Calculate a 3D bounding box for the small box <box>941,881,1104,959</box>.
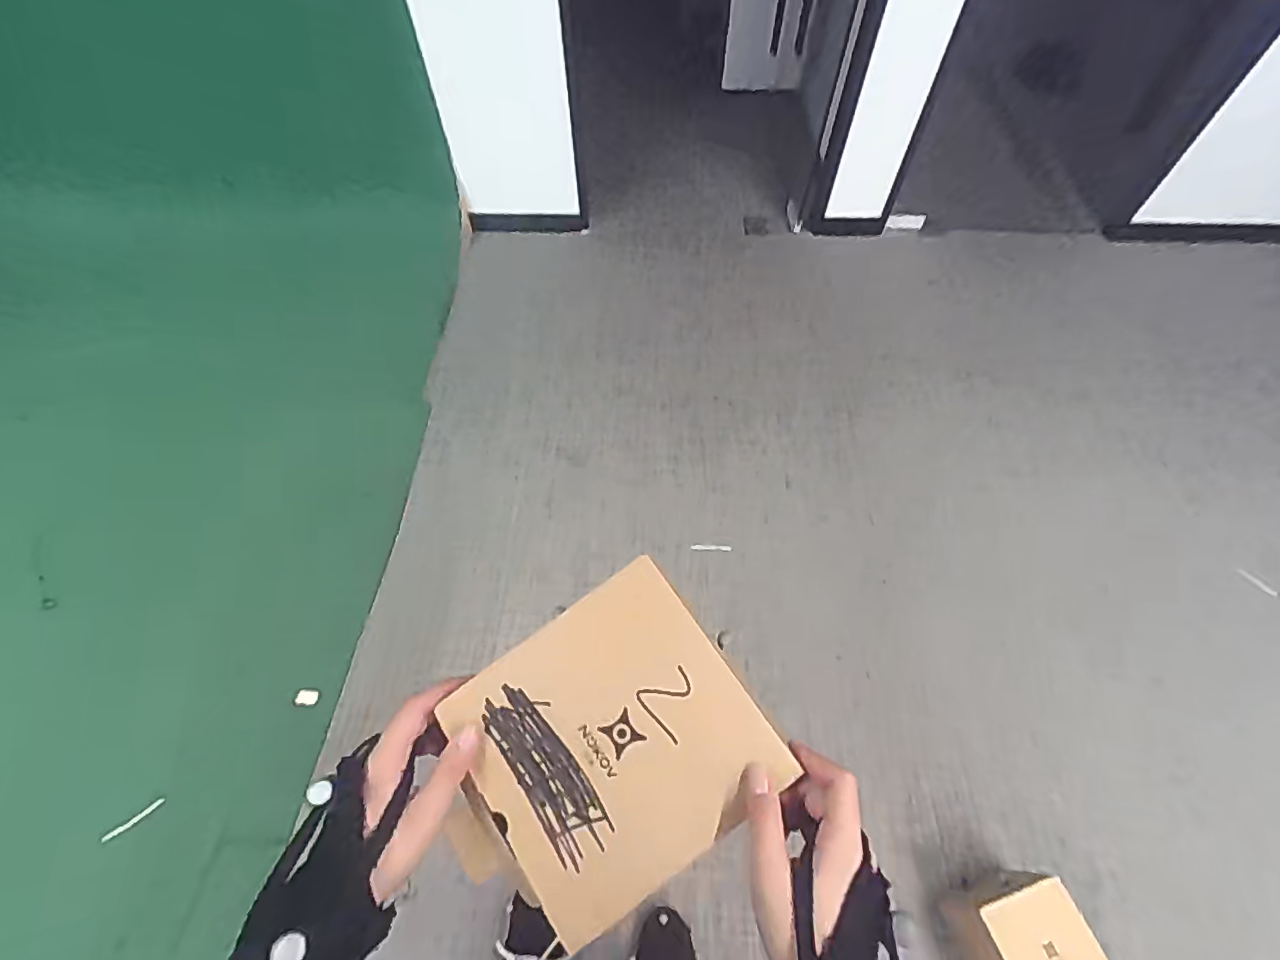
[{"bbox_3d":[0.676,0.833,0.951,0.168,0.176,0.179,-15,59,-10],"label":"small box"}]
